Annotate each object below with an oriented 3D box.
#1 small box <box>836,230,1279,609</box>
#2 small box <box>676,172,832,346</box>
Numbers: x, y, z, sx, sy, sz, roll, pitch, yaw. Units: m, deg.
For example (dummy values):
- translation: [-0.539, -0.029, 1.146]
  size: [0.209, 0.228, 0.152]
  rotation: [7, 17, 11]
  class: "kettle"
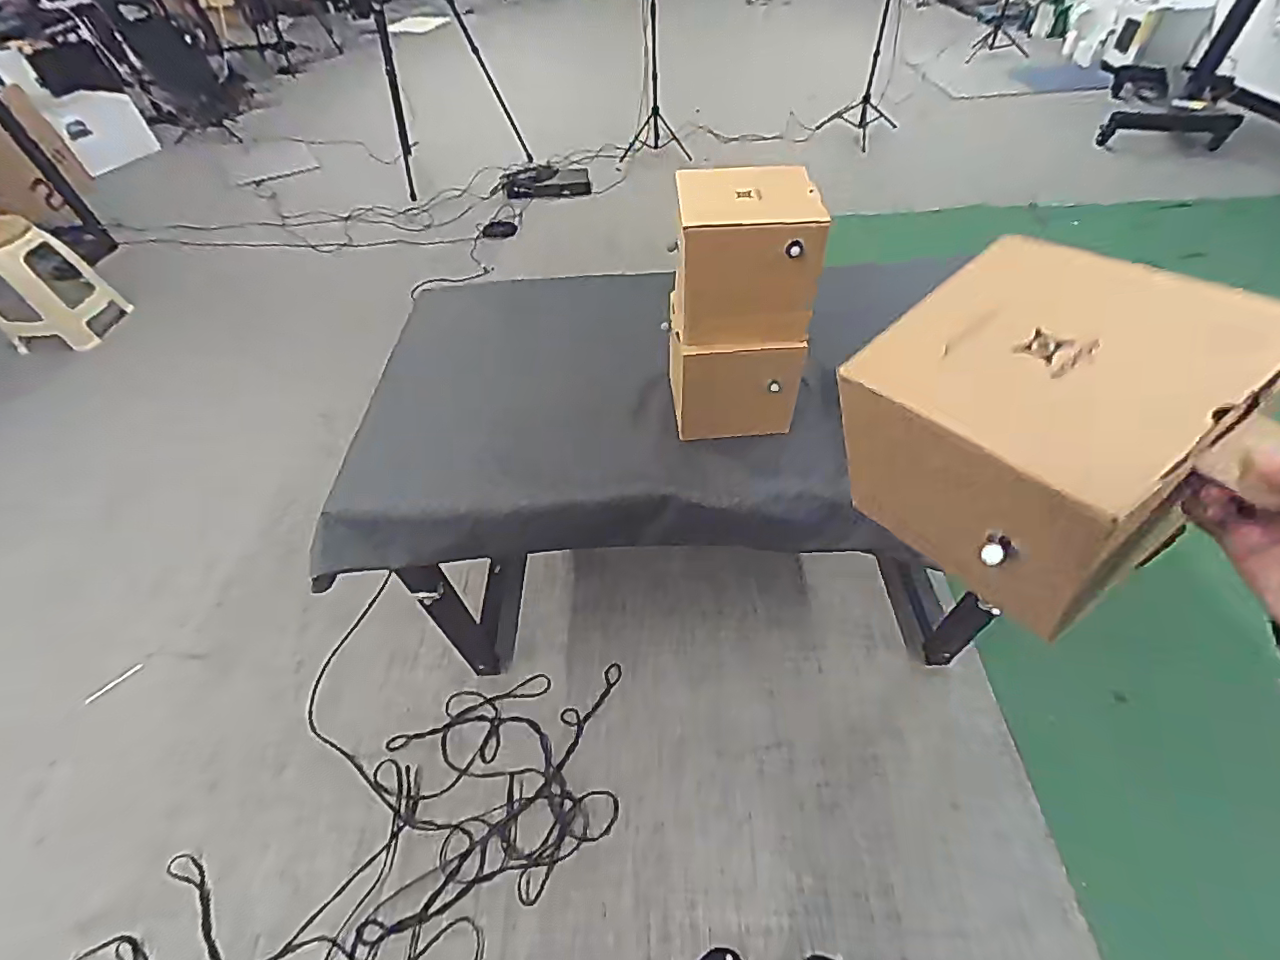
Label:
- translation: [0.267, -0.034, 0.374]
  size: [0.168, 0.176, 0.179]
  rotation: [-39, 47, -7]
  class: "small box"
- translation: [0.140, -0.296, 0.736]
  size: [0.179, 0.176, 0.168]
  rotation: [-1, 49, 1]
  class: "small box"
